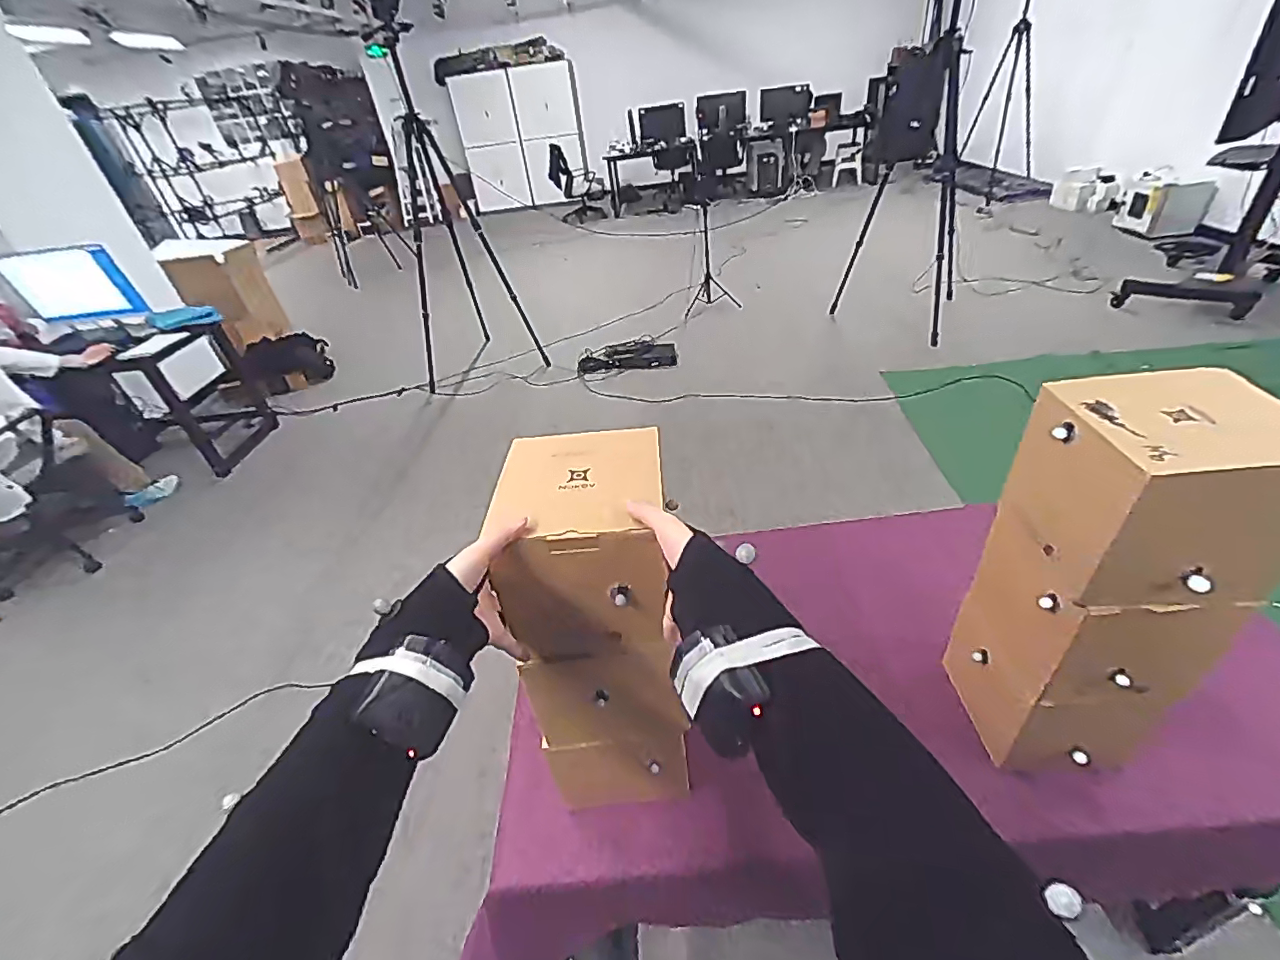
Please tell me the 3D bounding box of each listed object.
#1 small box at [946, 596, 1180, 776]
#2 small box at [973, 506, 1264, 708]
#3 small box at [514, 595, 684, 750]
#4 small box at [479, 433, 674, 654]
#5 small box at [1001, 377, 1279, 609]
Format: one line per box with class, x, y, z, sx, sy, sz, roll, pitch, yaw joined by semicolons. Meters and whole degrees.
small box;0.548;0.274;0.737;0.168;0.176;0.179;-5;37;5
small box;0.531;0.143;0.641;0.168;0.176;0.179;-5;37;5
small box;-0.041;0.207;0.669;0.179;0.176;0.168;-8;36;1
small box;-0.053;0.070;0.580;0.168;0.176;0.179;-4;35;3
small box;0.510;0.013;0.542;0.179;0.176;0.168;-3;37;6
